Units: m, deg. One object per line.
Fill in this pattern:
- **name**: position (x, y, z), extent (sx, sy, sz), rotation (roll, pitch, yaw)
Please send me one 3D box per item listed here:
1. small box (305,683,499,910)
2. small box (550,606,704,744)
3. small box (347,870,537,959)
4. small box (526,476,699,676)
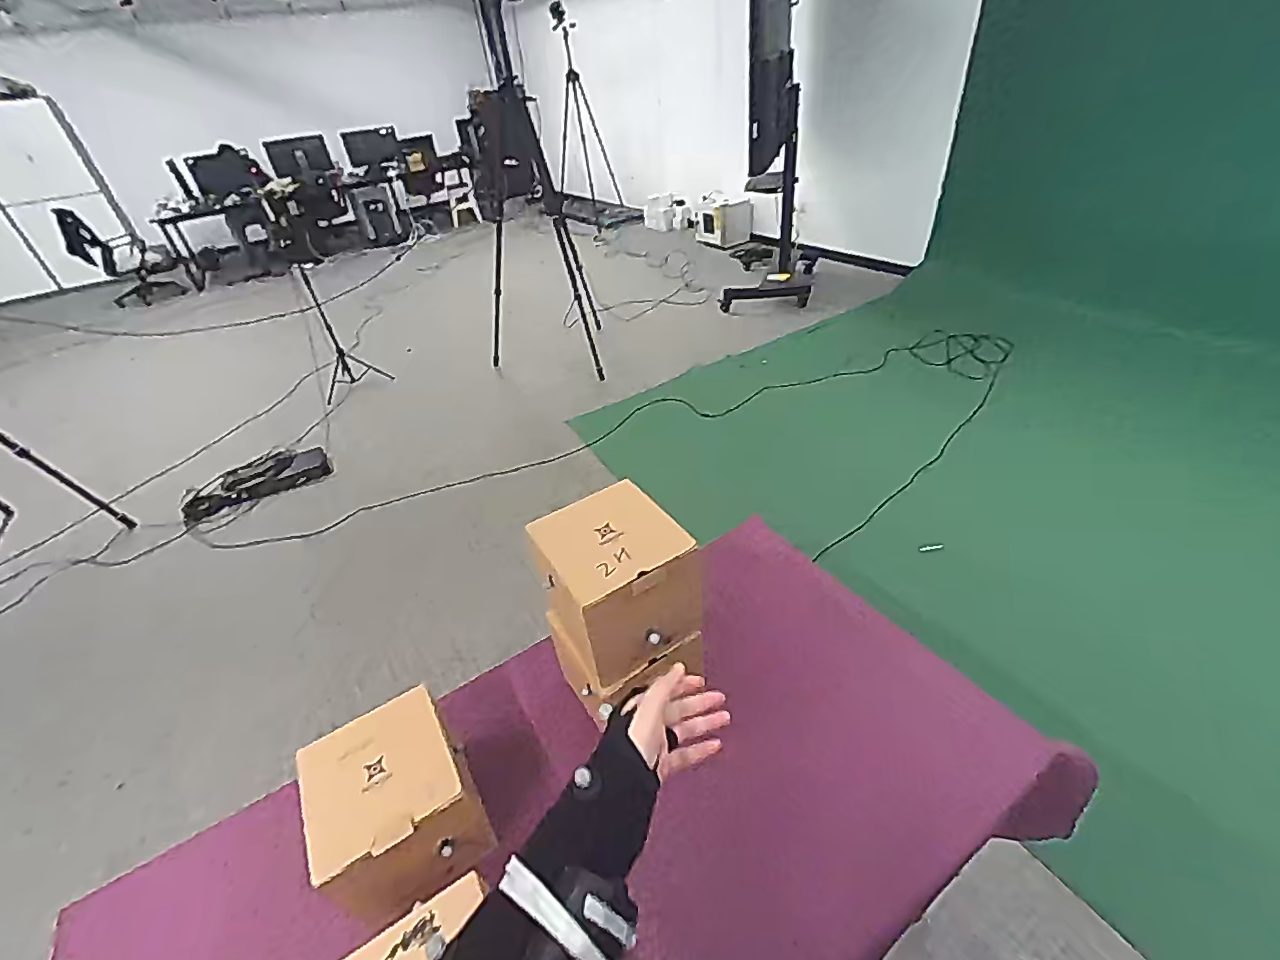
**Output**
- **small box**: position (-0.303, 0.413, 0.704), extent (0.168, 0.176, 0.179), rotation (-25, 41, -22)
- **small box**: position (-0.018, 0.264, 0.840), extent (0.168, 0.176, 0.179), rotation (-28, 43, -23)
- **small box**: position (-0.178, 0.537, 0.523), extent (0.168, 0.176, 0.179), rotation (-26, 42, -21)
- **small box**: position (-0.035, 0.129, 0.746), extent (0.168, 0.176, 0.179), rotation (-26, 42, -21)
